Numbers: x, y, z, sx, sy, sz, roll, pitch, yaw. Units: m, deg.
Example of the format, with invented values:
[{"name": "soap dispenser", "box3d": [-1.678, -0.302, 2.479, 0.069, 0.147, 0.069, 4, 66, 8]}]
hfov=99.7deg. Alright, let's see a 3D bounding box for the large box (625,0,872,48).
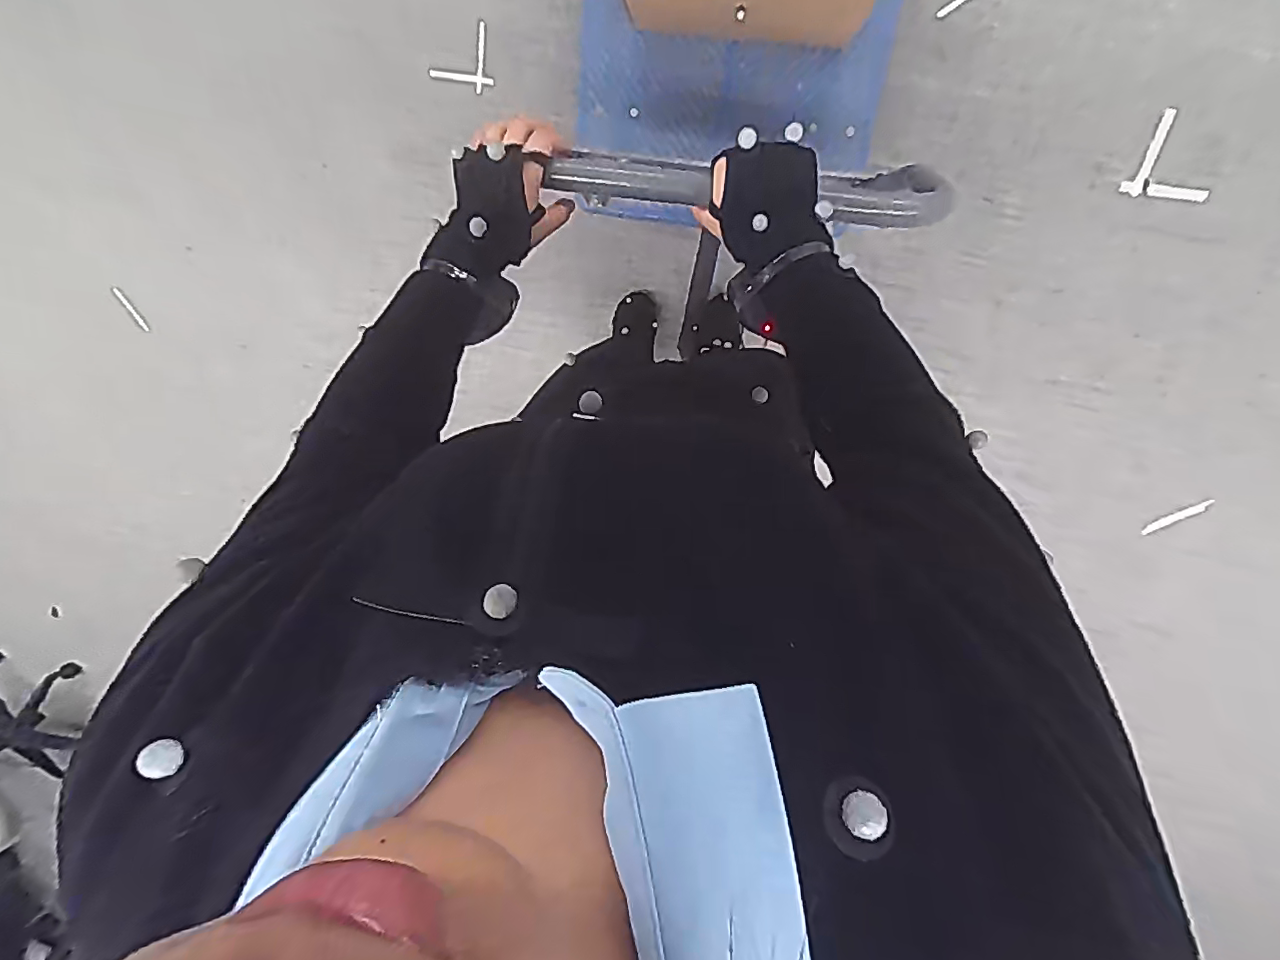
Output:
[{"name": "large box", "box3d": [0.184, -0.919, 0.839, 0.408, 0.320, 0.320, 9, 111, 6]}]
